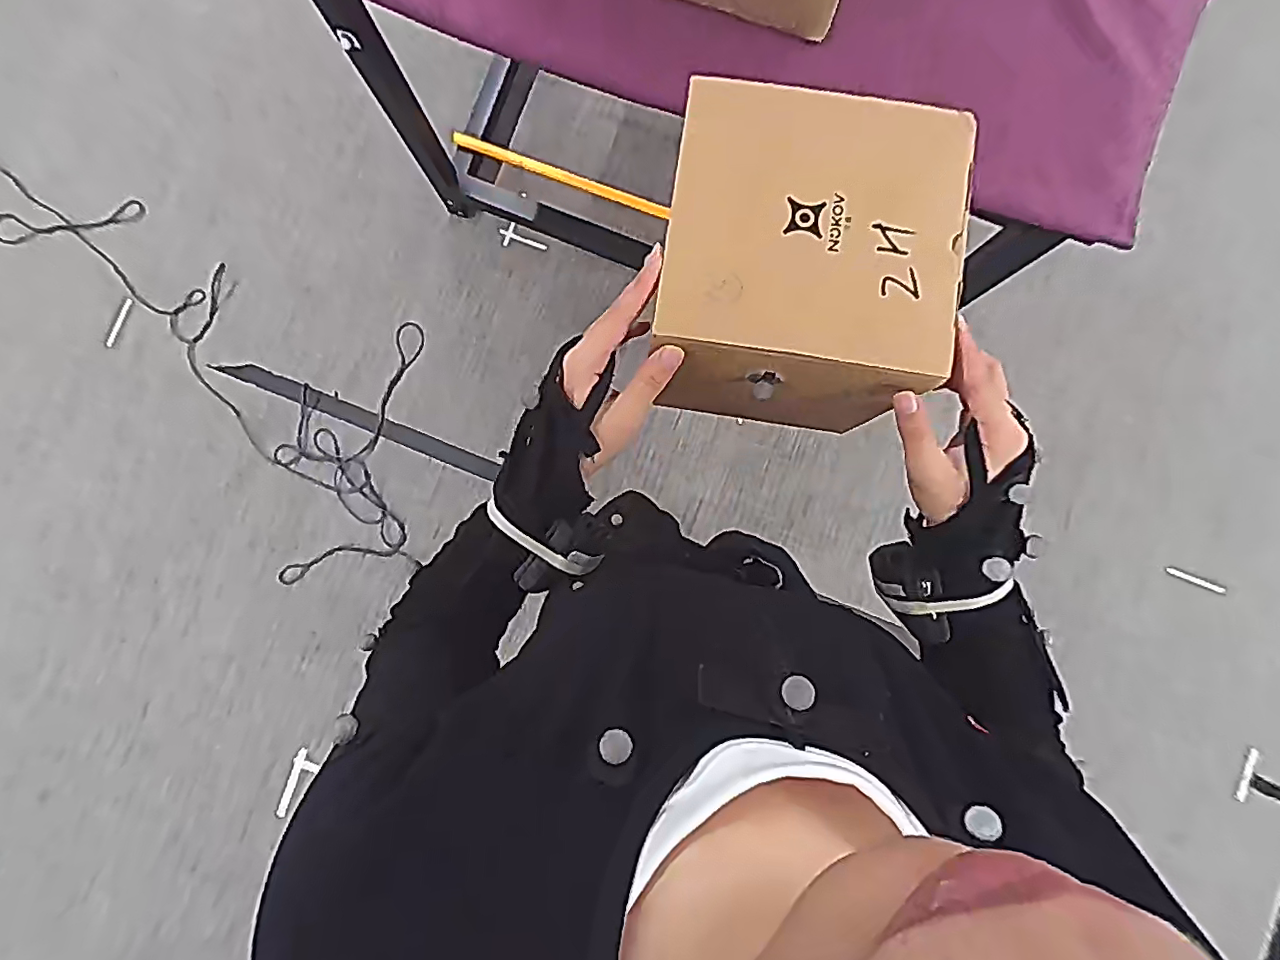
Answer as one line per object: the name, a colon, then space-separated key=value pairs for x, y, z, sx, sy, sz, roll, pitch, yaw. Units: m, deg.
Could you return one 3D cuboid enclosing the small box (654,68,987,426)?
small box: x=0.107 y=-0.144 z=0.391 sx=0.179 sy=0.176 sz=0.168 roll=9 pitch=84 yaw=0
